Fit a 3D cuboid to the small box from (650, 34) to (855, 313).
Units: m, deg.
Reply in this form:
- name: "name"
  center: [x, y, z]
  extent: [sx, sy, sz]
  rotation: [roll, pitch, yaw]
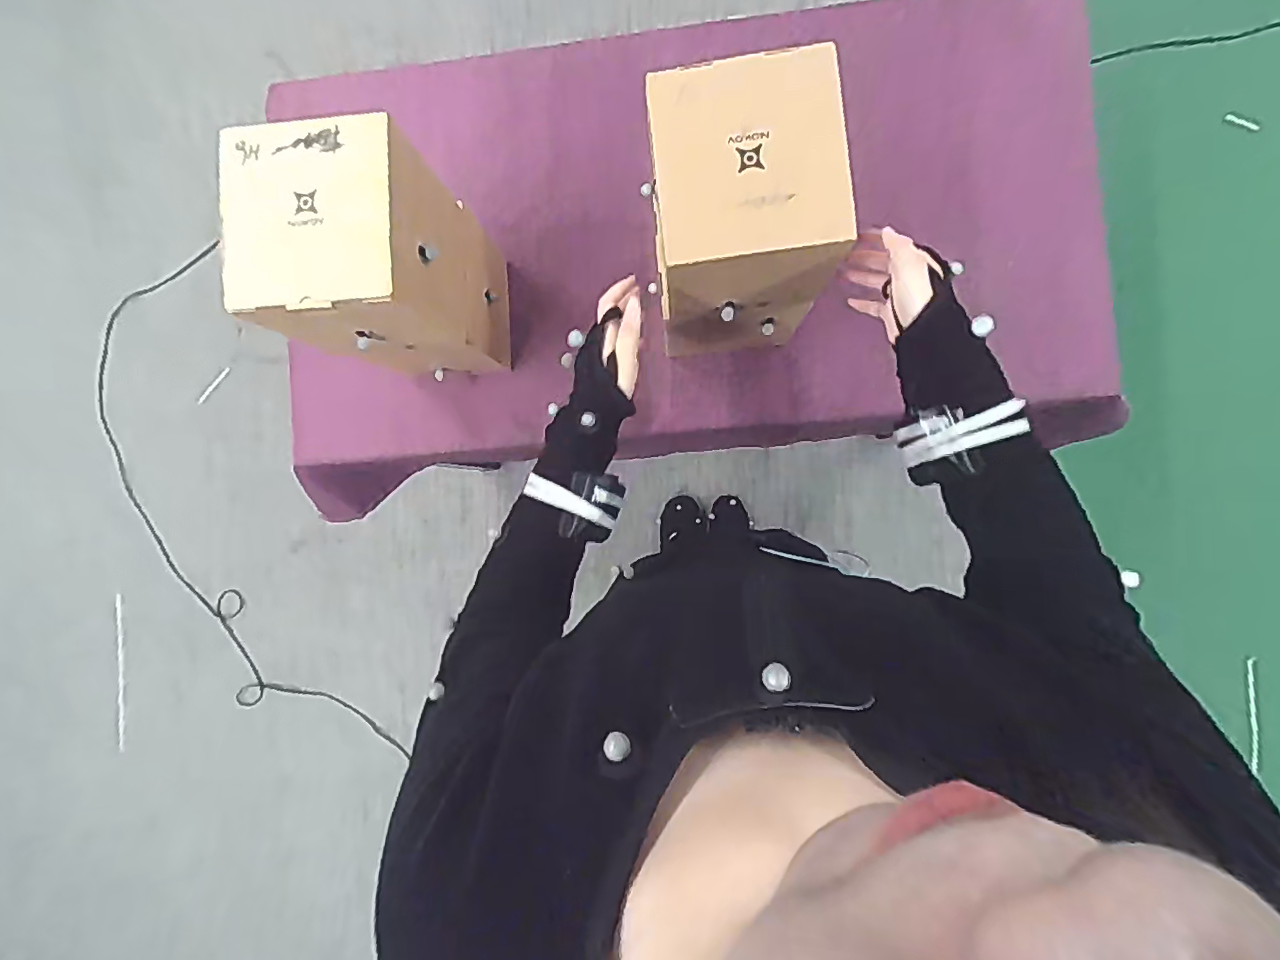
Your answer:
- name: "small box"
  center: [0.101, -0.287, 0.545]
  extent: [0.168, 0.176, 0.179]
  rotation: [-6, 90, 5]

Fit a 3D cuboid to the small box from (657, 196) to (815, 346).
- name: "small box"
  center: [0.116, -0.283, 0.708]
  extent: [0.179, 0.176, 0.168]
  rotation: [-5, 89, 5]

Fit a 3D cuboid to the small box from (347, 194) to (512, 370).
- name: "small box"
  center: [-0.282, -0.258, 0.741]
  extent: [0.168, 0.176, 0.179]
  rotation: [-3, 90, 5]

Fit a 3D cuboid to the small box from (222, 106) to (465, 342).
- name: "small box"
  center: [-0.298, -0.251, 0.577]
  extent: [0.168, 0.176, 0.179]
  rotation: [-2, 90, 4]
